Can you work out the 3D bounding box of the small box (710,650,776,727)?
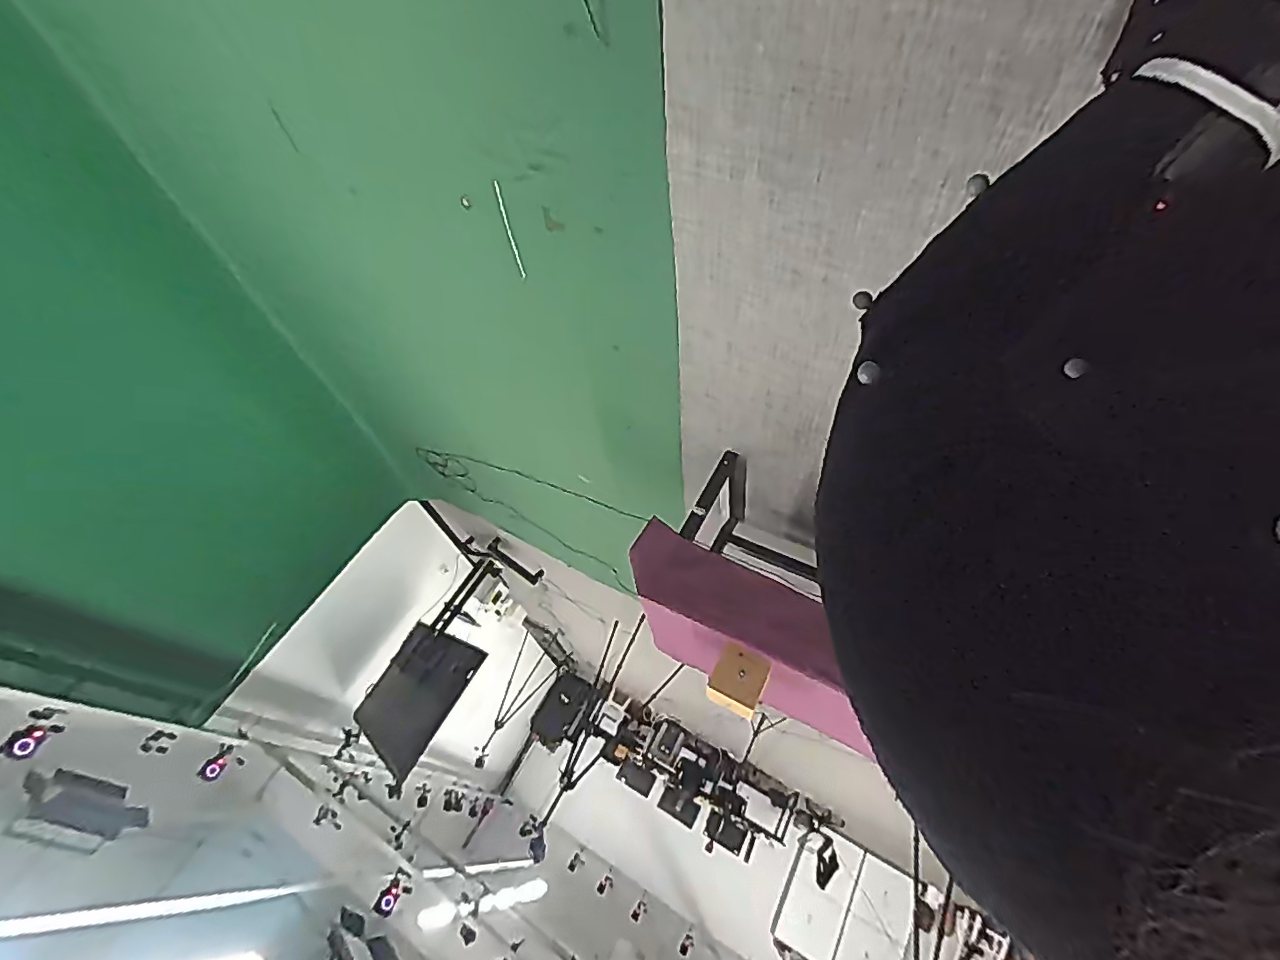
[{"bbox_3d":[0.347,0.697,1.818,0.168,0.176,0.179,22,151,21],"label":"small box"}]
